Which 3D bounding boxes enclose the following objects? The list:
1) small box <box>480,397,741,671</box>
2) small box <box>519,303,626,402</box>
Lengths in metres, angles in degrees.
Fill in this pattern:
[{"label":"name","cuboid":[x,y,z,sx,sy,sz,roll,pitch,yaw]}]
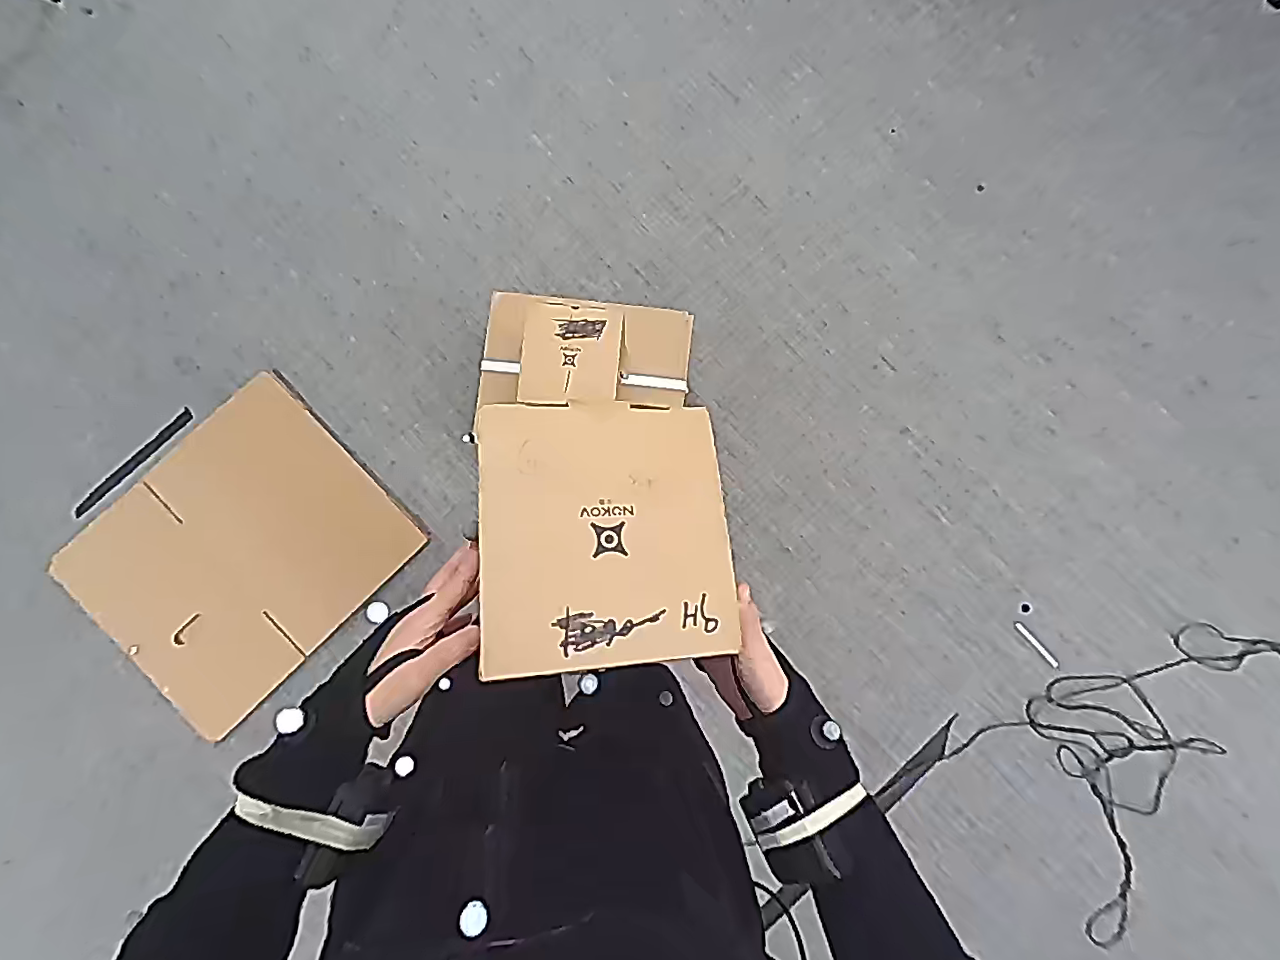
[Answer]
[{"label":"small box","cuboid":[-0.040,0.051,0.428,0.168,0.176,0.179,-2,71,-15]},{"label":"small box","cuboid":[-0.115,-0.199,0.982,0.168,0.176,0.179,5,86,0]}]
